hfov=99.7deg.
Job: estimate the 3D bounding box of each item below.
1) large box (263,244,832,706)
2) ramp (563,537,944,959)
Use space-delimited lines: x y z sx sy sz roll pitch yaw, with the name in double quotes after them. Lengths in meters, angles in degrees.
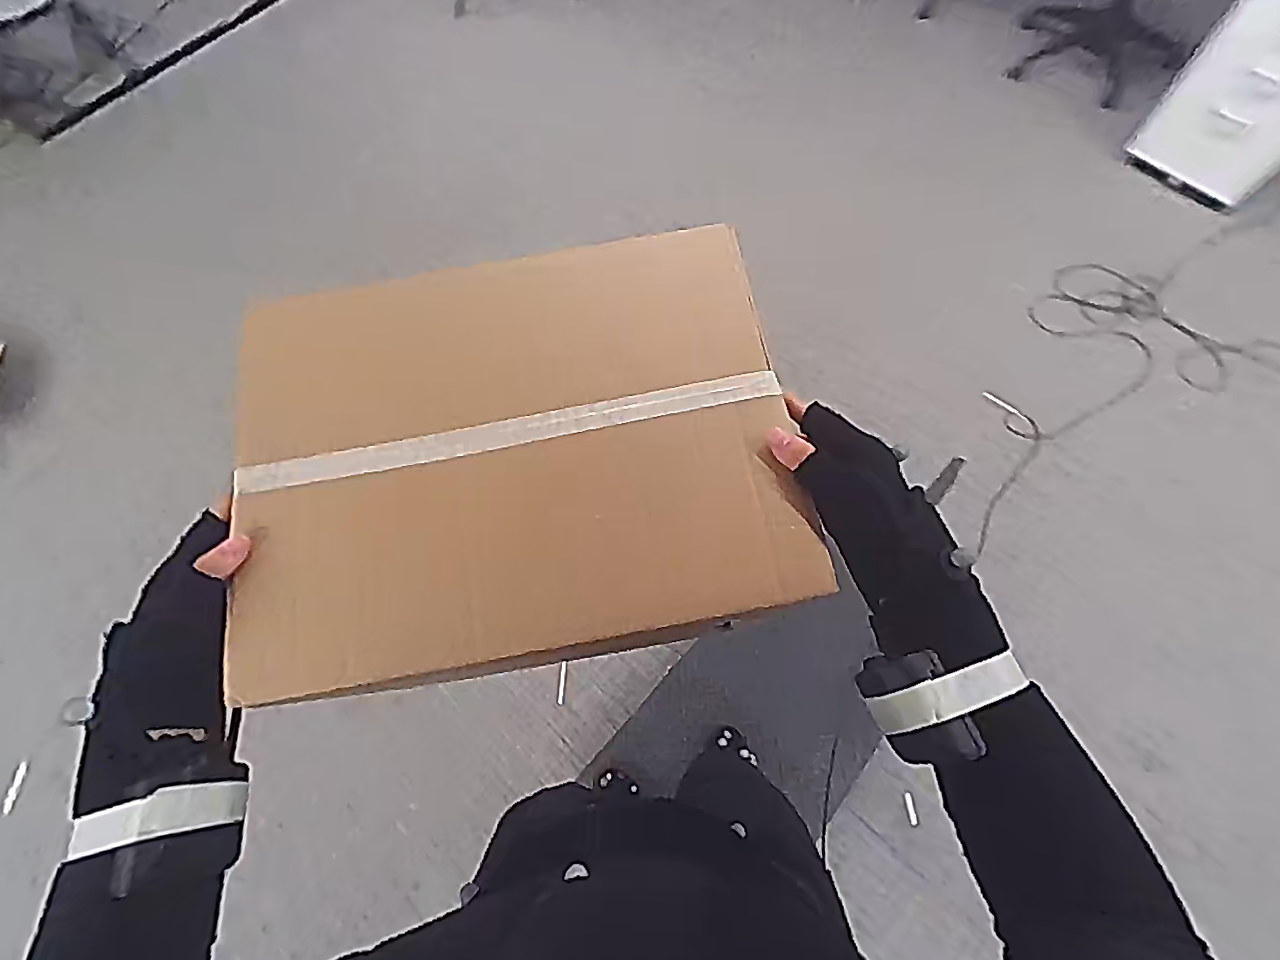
-0.079 0.020 0.555 0.408 0.320 0.320 -10 71 0 "large box"
0.326 0.577 1.374 0.509 0.206 0.991 37 75 20 "ramp"
